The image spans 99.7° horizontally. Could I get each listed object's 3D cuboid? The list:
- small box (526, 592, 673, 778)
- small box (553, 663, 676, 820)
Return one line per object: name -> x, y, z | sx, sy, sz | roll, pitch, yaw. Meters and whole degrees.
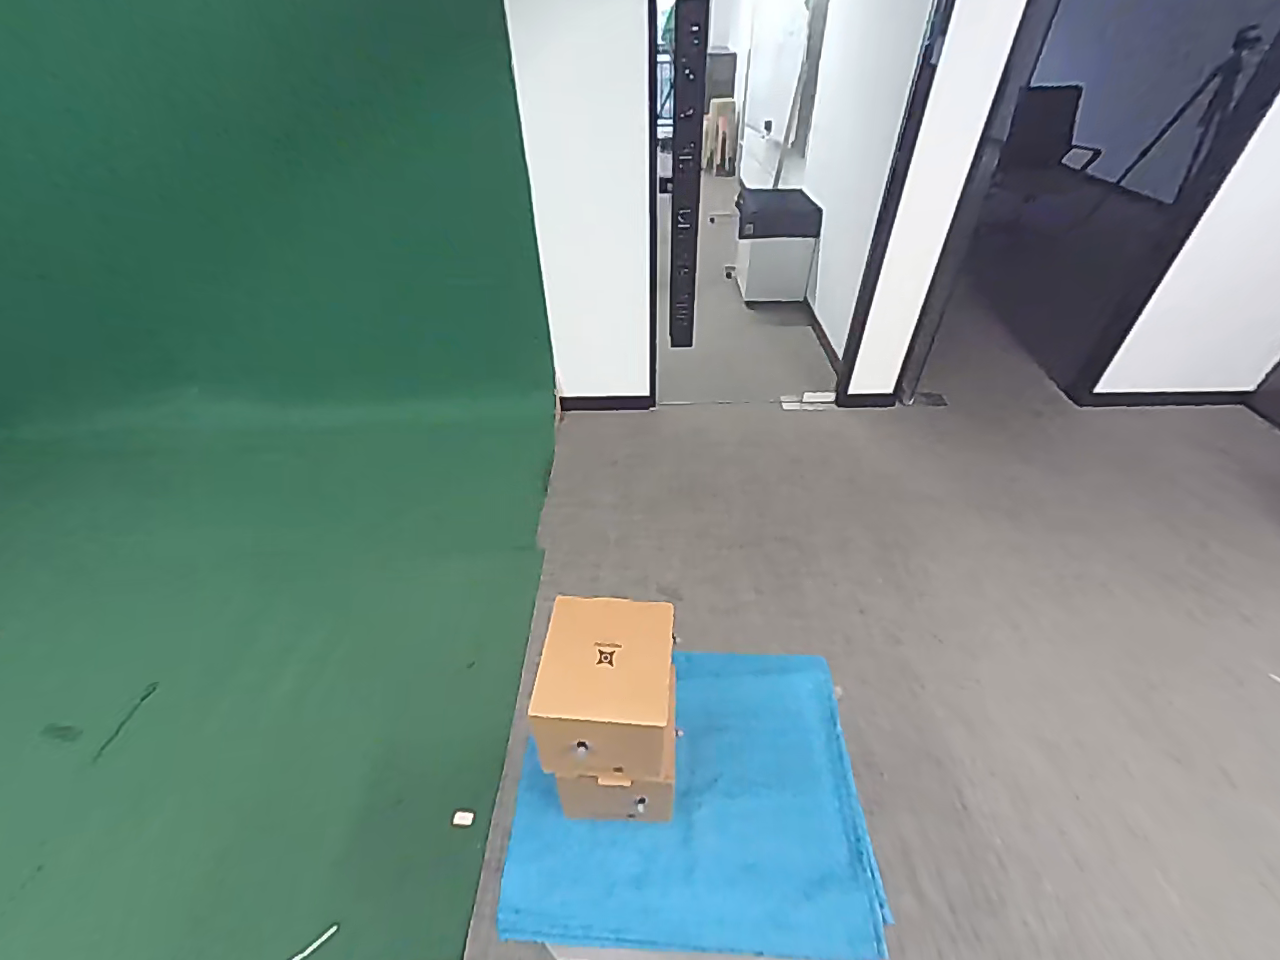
small box -> -0.043, 0.277, 0.730 | 0.168, 0.176, 0.179 | 3, 39, 4
small box -> -0.030, 0.400, 0.836 | 0.168, 0.176, 0.179 | 3, 40, 2
